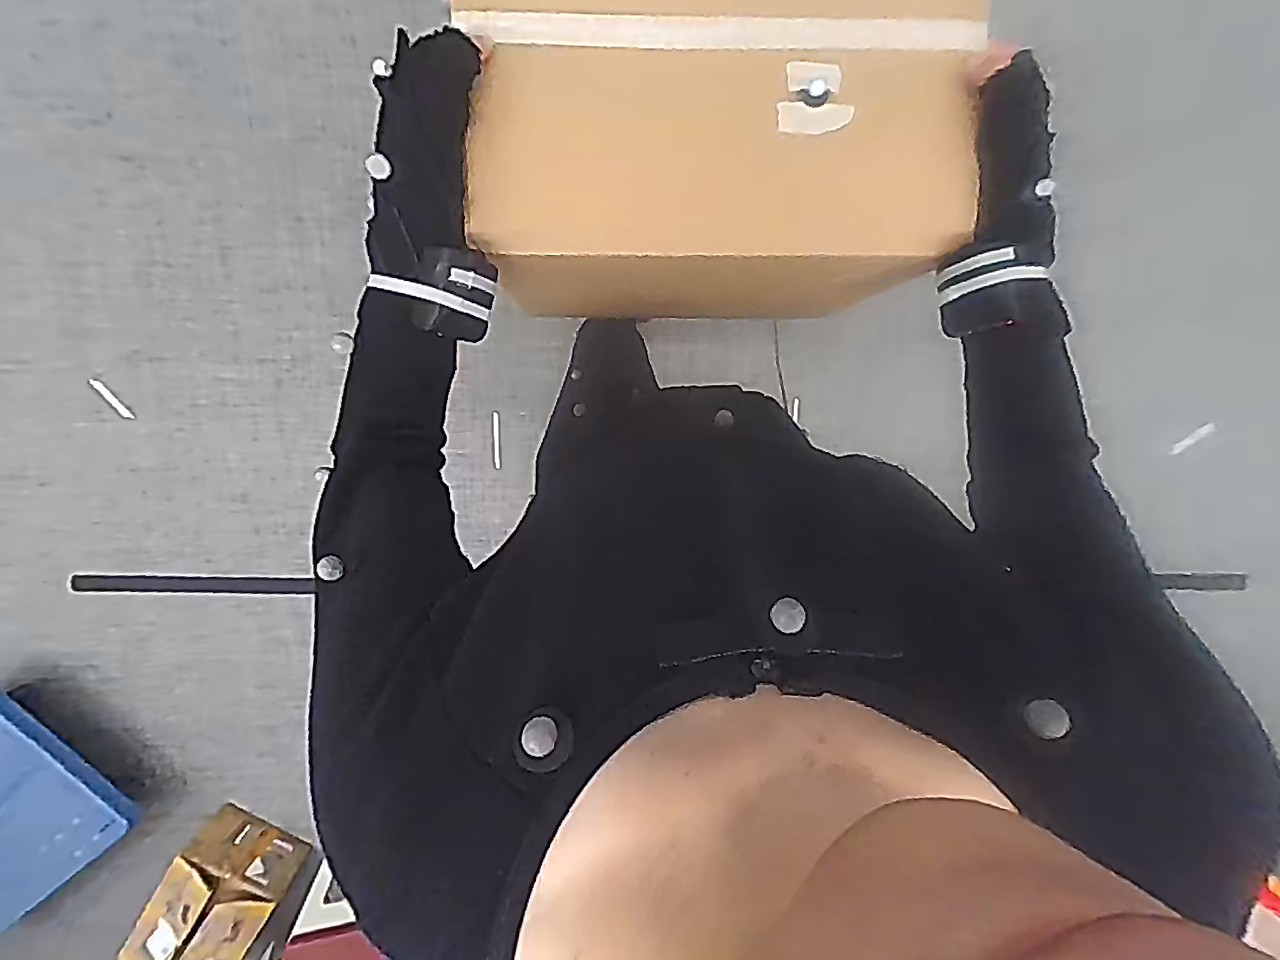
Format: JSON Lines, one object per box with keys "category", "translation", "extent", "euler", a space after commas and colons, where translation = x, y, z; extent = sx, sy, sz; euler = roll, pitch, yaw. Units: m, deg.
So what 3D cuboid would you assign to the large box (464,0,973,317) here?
{"category": "large box", "translation": [0.056, -0.361, 0.570], "extent": [0.408, 0.320, 0.320], "euler": [-1, 97, -3]}
